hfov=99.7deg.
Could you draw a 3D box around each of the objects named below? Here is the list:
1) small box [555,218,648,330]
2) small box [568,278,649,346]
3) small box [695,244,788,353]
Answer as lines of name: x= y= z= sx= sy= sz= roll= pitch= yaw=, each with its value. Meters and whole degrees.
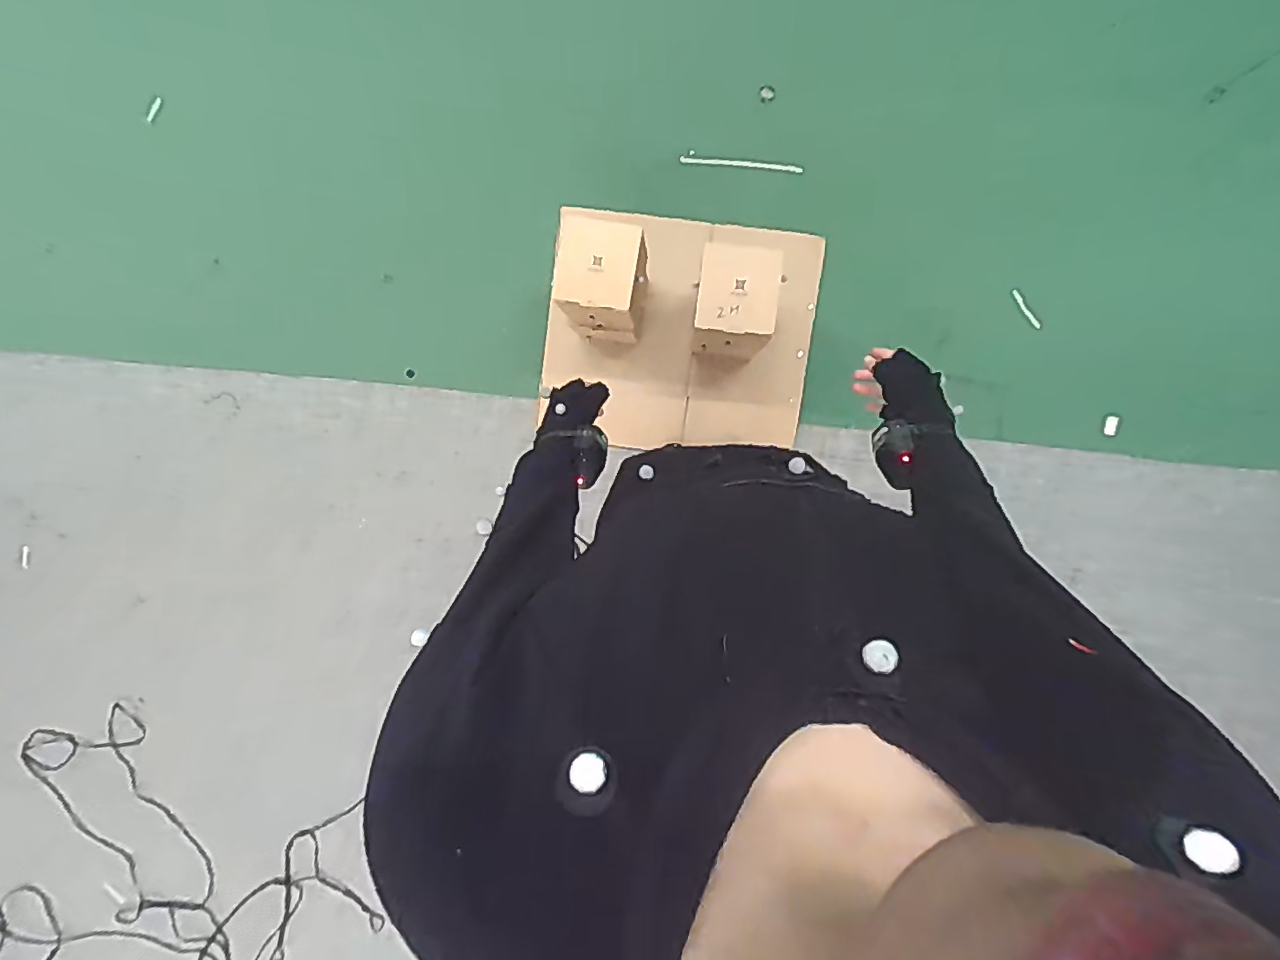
small box: x=-0.077 y=-0.444 z=1.189 sx=0.168 sy=0.176 sz=0.179 roll=10 pitch=95 yaw=3
small box: x=-0.072 y=-0.443 z=1.352 sx=0.168 sy=0.176 sz=0.179 roll=9 pitch=94 yaw=4
small box: x=0.211 y=-0.385 z=1.171 sx=0.168 sy=0.176 sz=0.179 roll=7 pitch=94 yaw=4
